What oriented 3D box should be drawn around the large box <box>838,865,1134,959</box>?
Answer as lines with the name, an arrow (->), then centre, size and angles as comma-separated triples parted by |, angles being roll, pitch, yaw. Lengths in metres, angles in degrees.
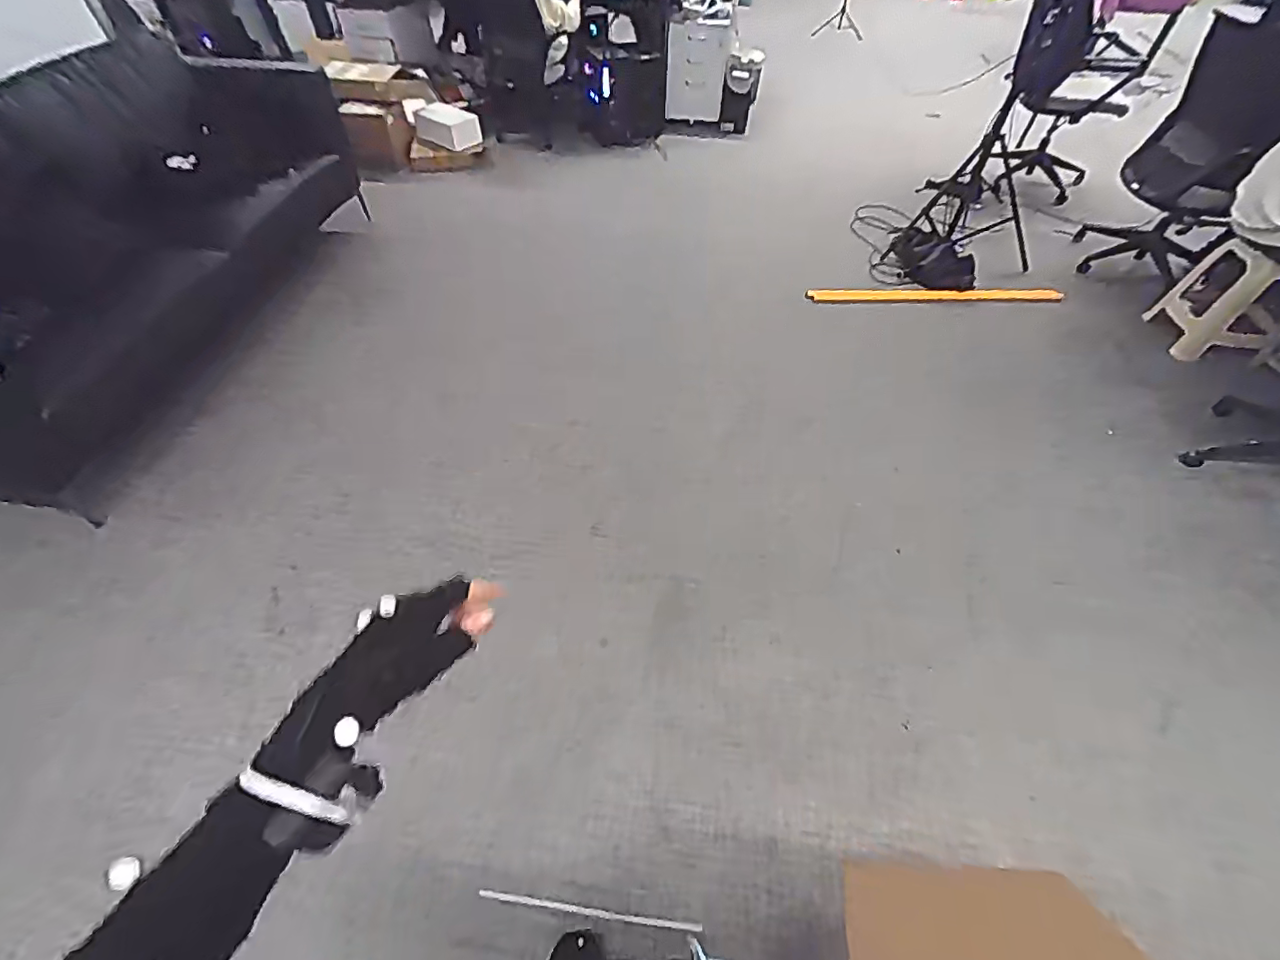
large box -> 0.405, 0.686, 0.598 | 0.320, 0.408, 0.320 | -10, 72, 17
